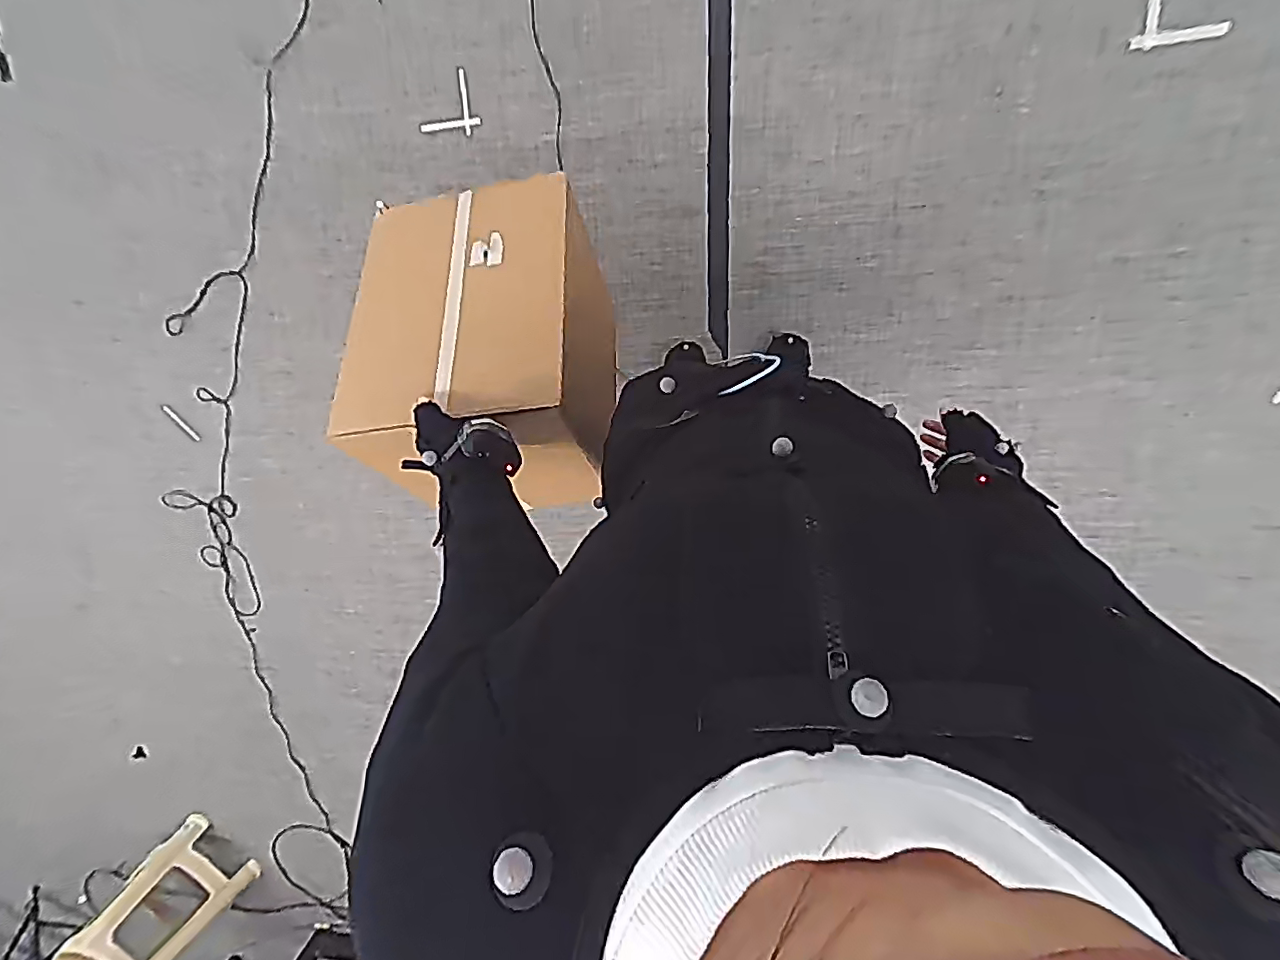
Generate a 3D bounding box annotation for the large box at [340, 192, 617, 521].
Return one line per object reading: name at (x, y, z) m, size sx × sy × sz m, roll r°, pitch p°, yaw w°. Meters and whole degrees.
large box at (-0.226, -0.182, 0.898) m, size 0.320 × 0.320 × 0.408 m, roll -6°, pitch 65°, yaw 9°
